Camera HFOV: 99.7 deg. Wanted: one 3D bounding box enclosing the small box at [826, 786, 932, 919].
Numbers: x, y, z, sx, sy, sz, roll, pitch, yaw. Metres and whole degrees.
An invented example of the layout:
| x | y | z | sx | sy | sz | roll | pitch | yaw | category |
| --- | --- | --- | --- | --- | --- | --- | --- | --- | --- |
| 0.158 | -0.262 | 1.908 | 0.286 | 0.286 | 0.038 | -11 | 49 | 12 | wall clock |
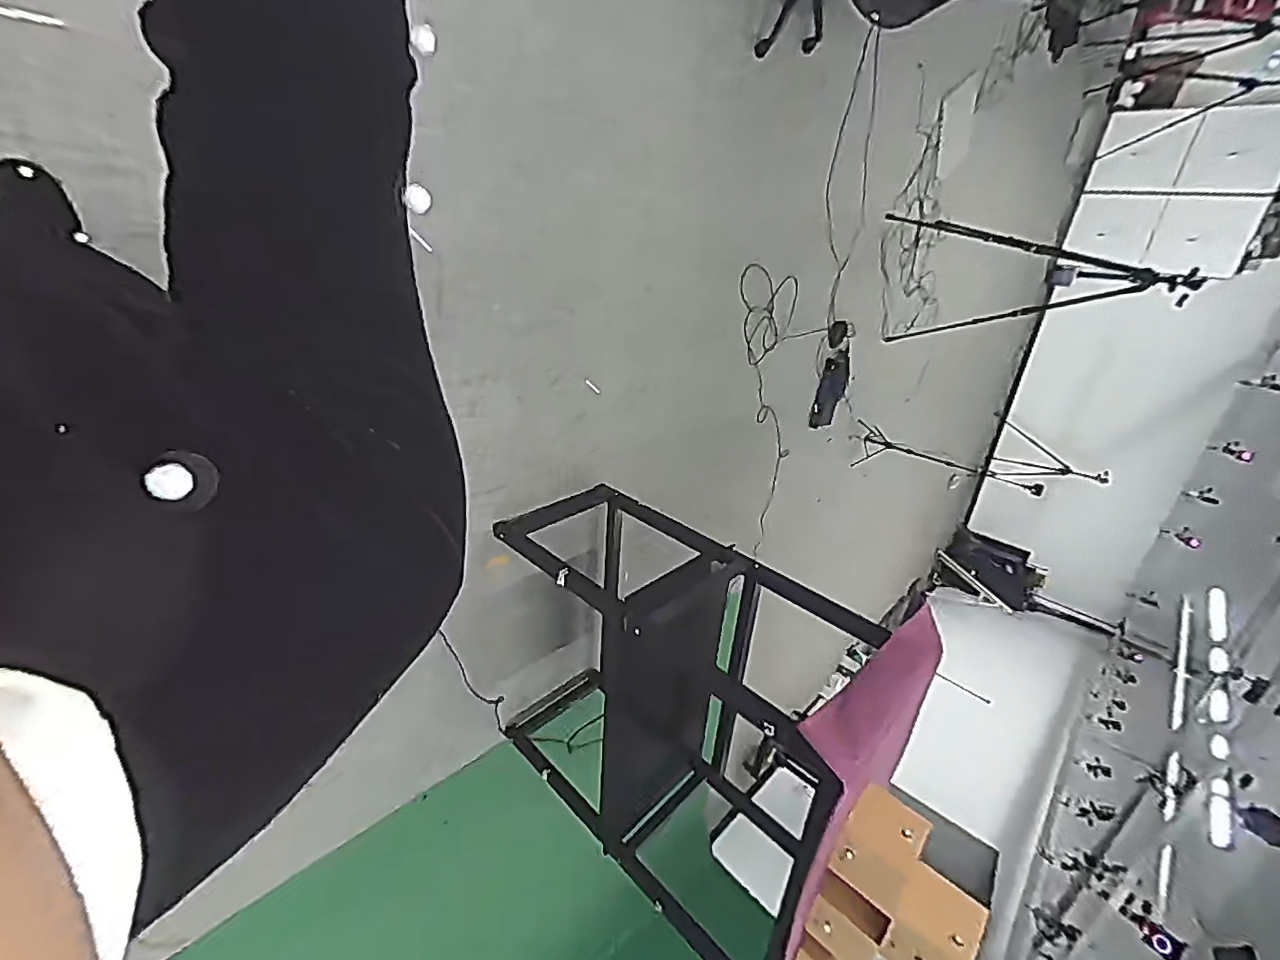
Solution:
| x | y | z | sx | sy | sz | roll | pitch | yaw | category |
| --- | --- | --- | --- | --- | --- | --- | --- | --- | --- |
| 0.590 | 0.912 | 1.343 | 0.179 | 0.176 | 0.168 | -17 | 121 | -44 | small box |

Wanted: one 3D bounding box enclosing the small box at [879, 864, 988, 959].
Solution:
| x | y | z | sx | sy | sz | roll | pitch | yaw | category |
| --- | --- | --- | --- | --- | --- | --- | --- | --- | --- |
| 0.699 | 1.090 | 1.298 | 0.179 | 0.176 | 0.168 | -20 | 124 | -43 | small box |

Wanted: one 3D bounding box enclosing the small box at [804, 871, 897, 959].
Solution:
| x | y | z | sx | sy | sz | roll | pitch | yaw | category |
| --- | --- | --- | --- | --- | --- | --- | --- | --- | --- |
| 0.569 | 1.165 | 1.455 | 0.179 | 0.176 | 0.168 | -18 | 122 | -43 | small box |
